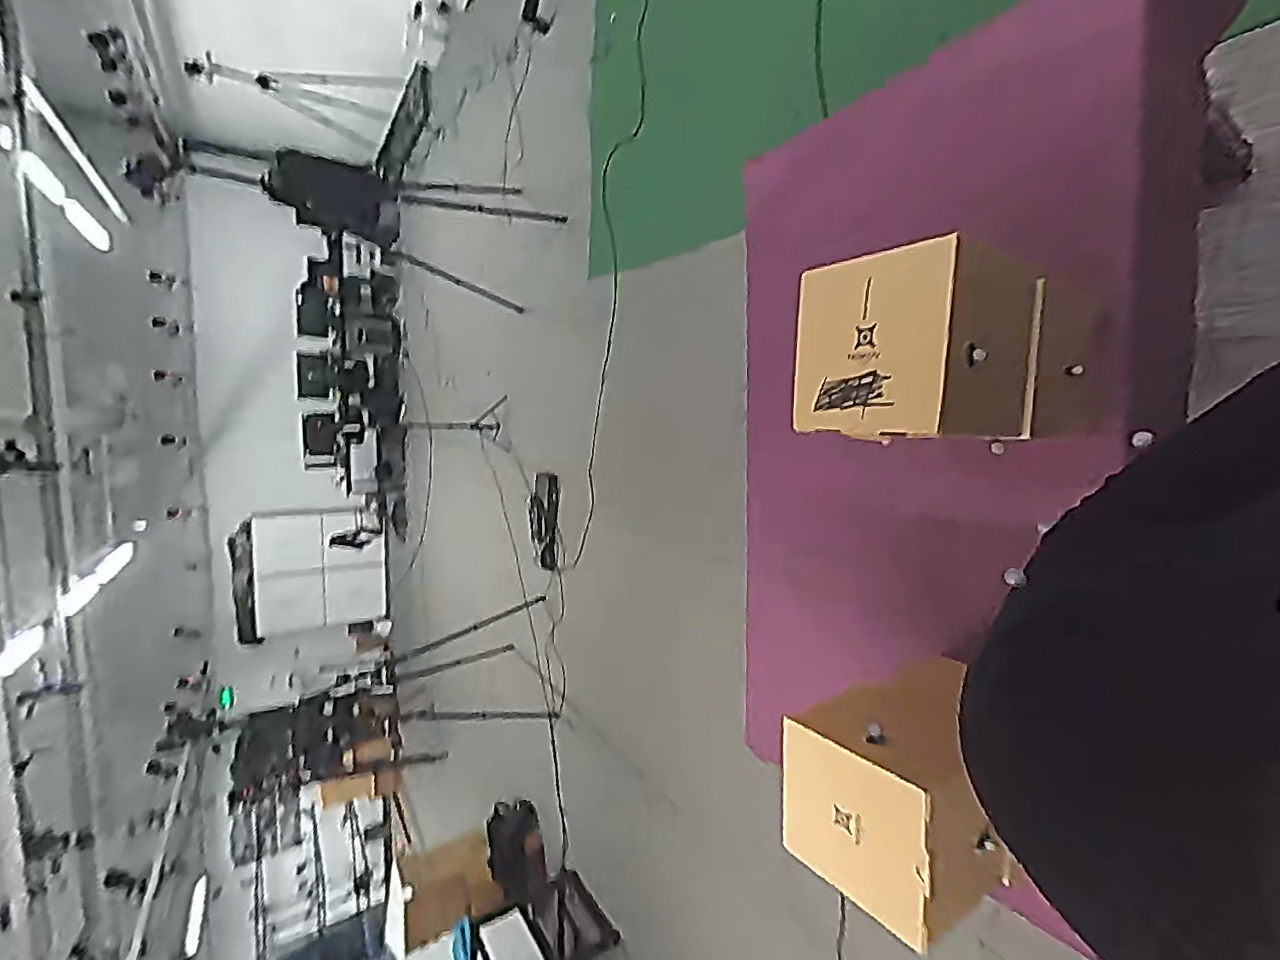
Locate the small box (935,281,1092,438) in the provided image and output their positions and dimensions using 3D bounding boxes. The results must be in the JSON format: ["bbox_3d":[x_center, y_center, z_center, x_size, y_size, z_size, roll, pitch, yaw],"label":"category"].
[{"bbox_3d":[0.428,-0.139,0.676,0.179,0.176,0.168,10,101,55],"label":"small box"}]

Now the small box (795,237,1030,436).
[{"bbox_3d":[0.291,-0.139,0.585,0.168,0.176,0.179,11,101,54],"label":"small box"}]

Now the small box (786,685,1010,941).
[{"bbox_3d":[0.293,0.357,0.627,0.179,0.176,0.168,4,96,55],"label":"small box"}]
